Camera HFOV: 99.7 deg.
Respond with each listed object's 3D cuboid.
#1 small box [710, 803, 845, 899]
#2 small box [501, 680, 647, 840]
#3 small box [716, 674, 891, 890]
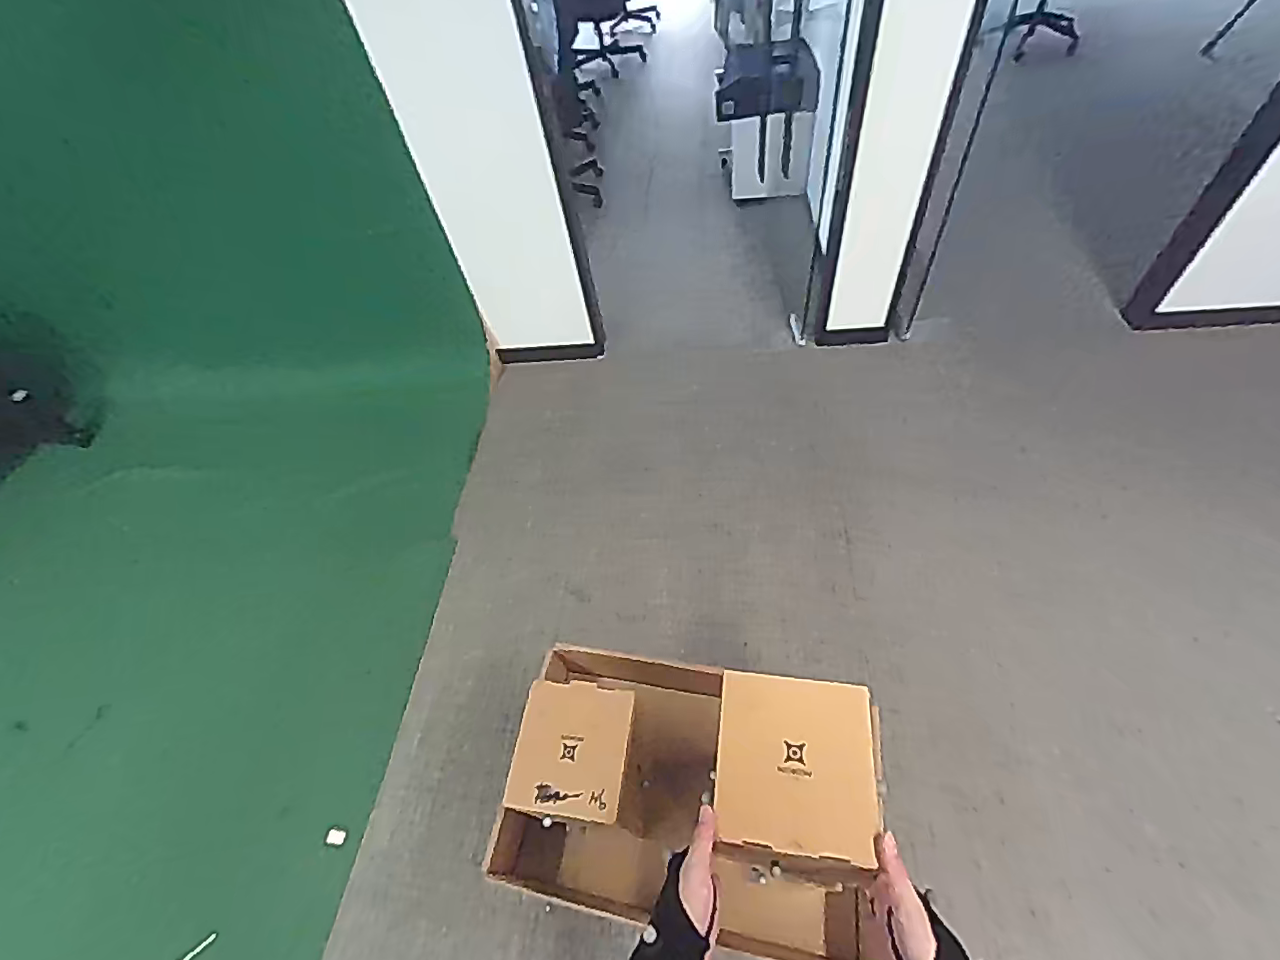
[{"bbox_3d":[0.196,0.463,0.767,0.168,0.176,0.179,8,55,15],"label":"small box"},{"bbox_3d":[-0.087,0.432,0.832,0.168,0.176,0.179,3,53,12],"label":"small box"},{"bbox_3d":[0.177,0.351,0.630,0.168,0.176,0.179,3,50,11],"label":"small box"}]
